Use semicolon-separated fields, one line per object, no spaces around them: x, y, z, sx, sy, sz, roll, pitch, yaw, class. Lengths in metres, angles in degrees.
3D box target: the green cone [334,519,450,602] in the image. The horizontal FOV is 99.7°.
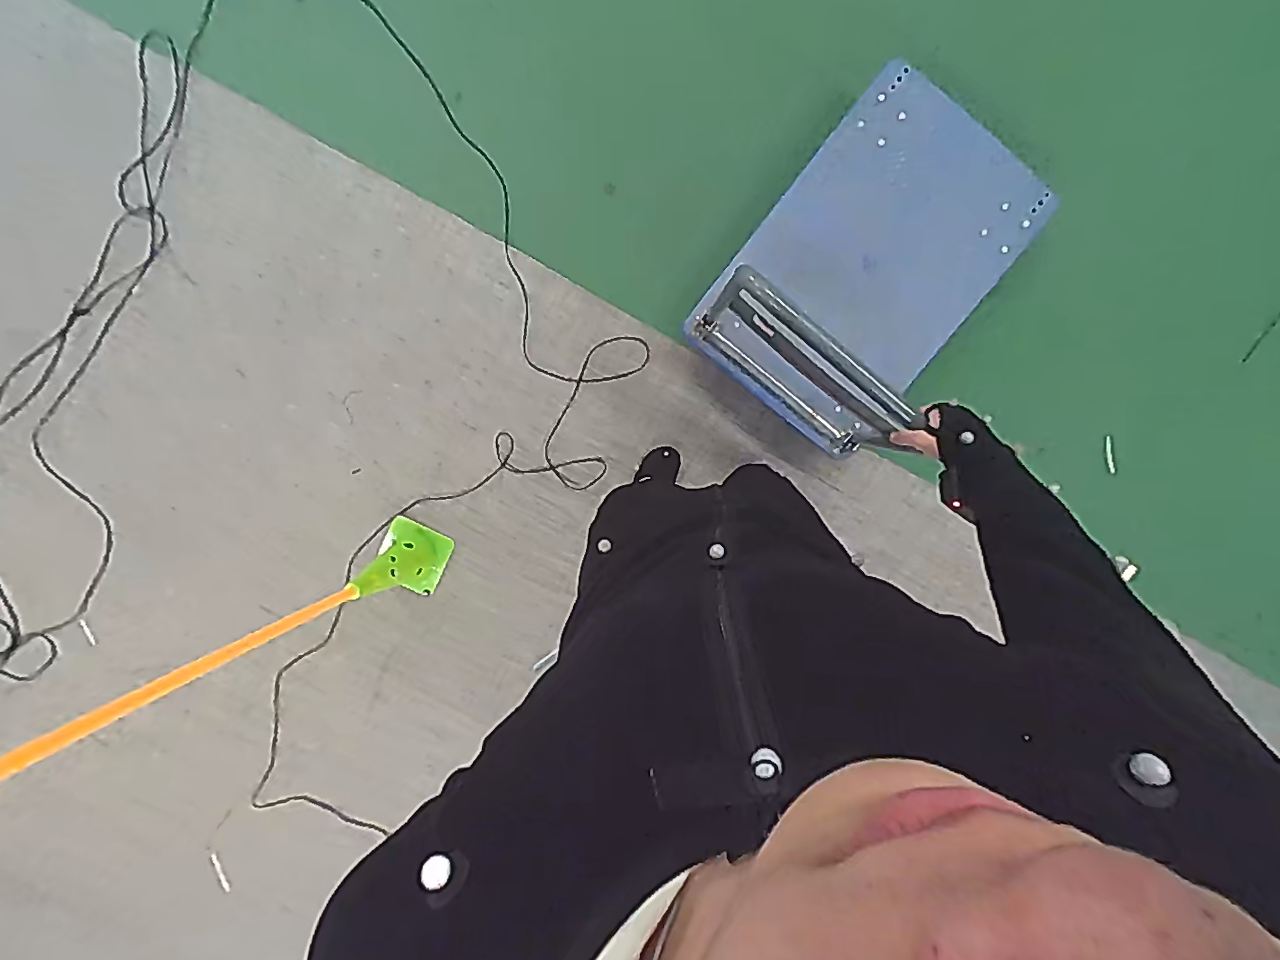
-0.697;0.253;1.460;0.202;0.368;0.200;25;95;-1;green cone
